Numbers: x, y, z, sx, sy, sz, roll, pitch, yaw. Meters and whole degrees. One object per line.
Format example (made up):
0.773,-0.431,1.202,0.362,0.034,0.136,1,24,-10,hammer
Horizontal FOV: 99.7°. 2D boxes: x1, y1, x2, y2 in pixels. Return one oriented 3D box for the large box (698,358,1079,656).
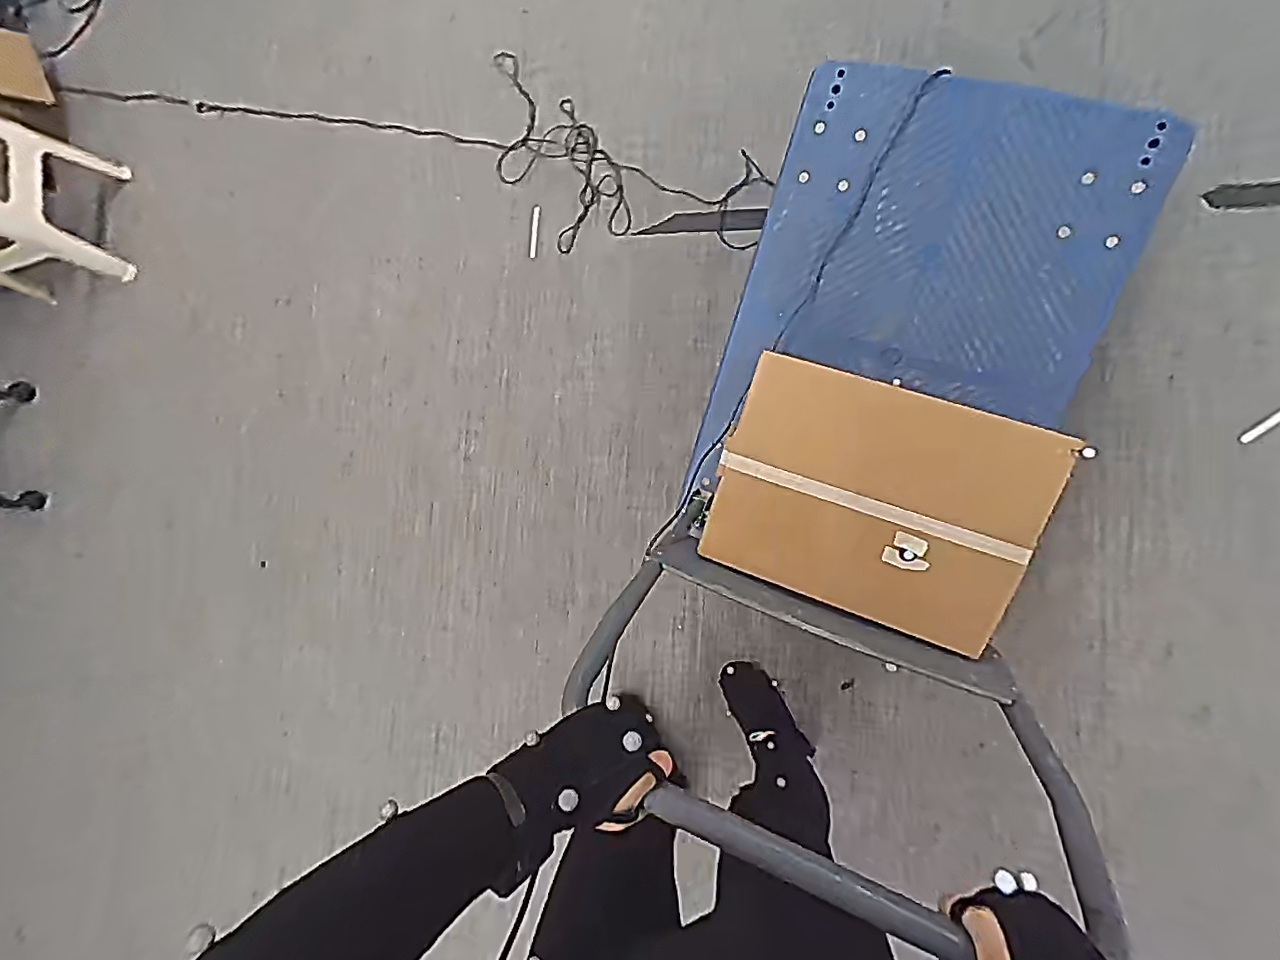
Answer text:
0.343,0.009,0.864,0.408,0.320,0.320,19,106,12,large box
